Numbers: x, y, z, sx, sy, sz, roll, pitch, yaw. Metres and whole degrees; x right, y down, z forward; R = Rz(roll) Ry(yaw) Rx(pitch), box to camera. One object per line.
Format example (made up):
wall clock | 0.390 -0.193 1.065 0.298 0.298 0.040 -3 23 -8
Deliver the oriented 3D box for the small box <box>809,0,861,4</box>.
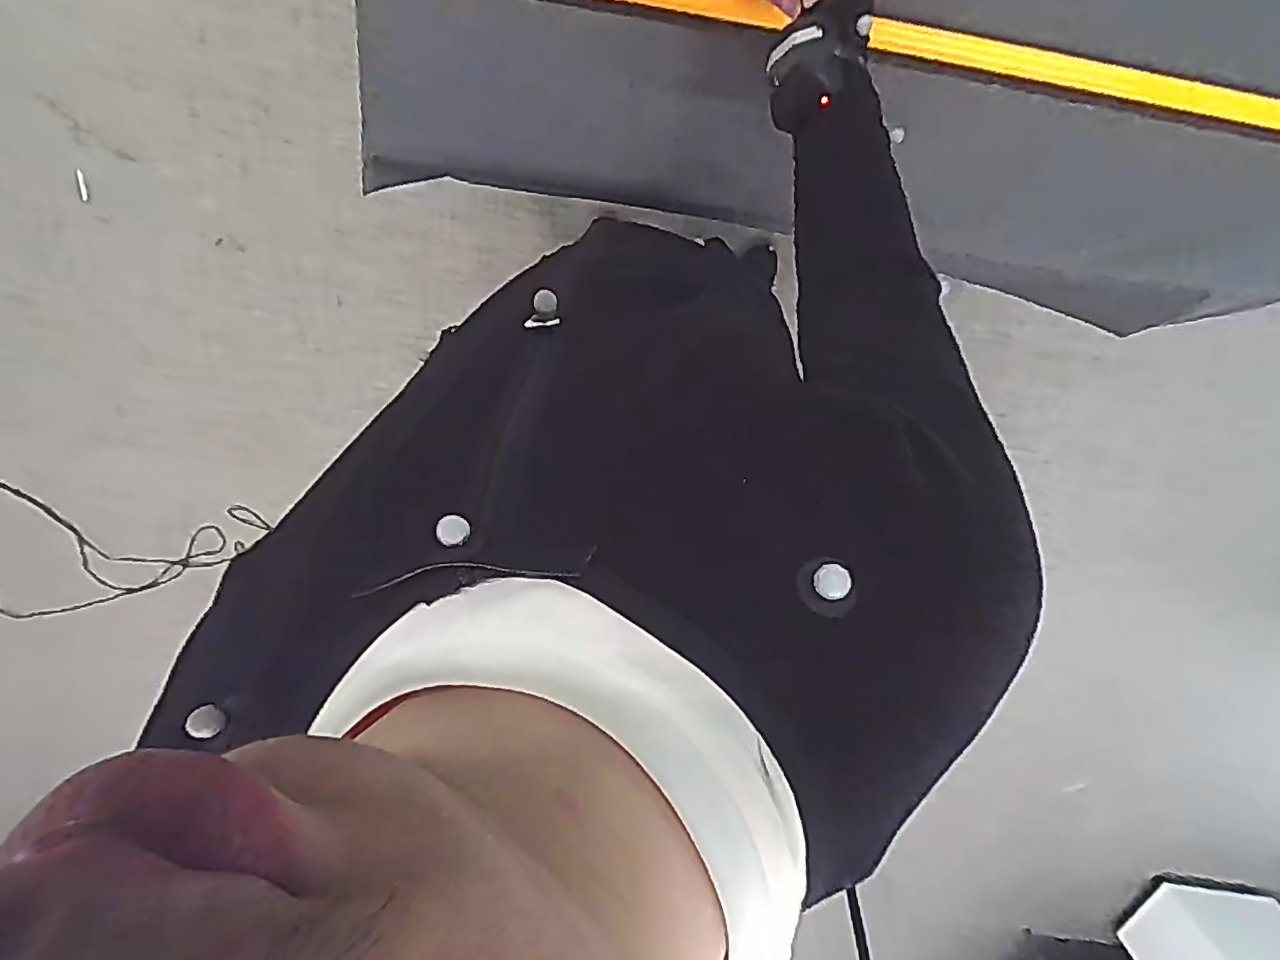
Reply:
small box | 0.167 -0.579 0.500 0.168 0.176 0.179 4 114 3
